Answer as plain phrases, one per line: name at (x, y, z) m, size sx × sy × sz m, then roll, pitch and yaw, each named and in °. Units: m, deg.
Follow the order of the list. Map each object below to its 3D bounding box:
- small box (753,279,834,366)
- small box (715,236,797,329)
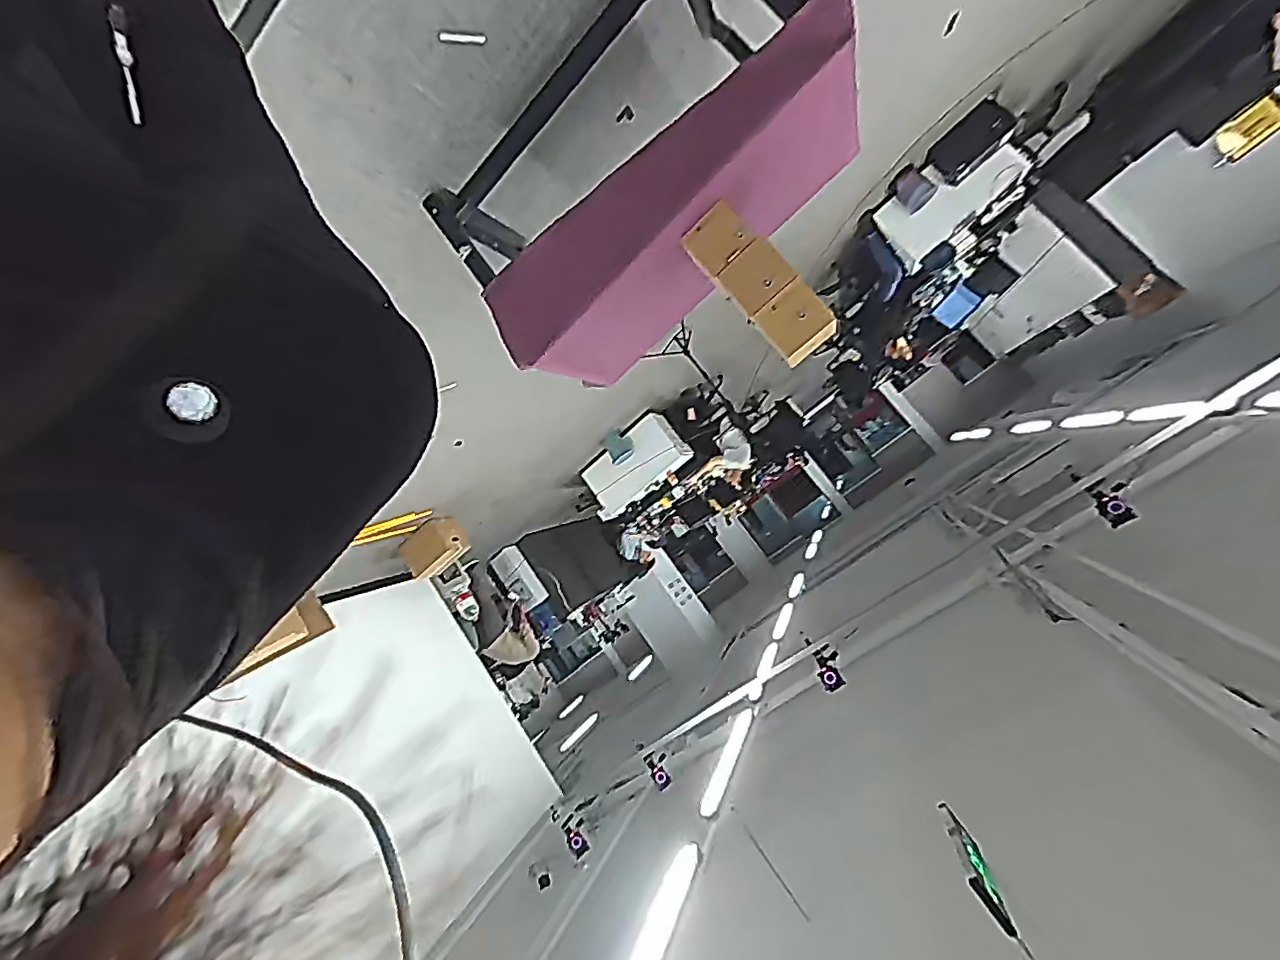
small box at (0.453, -0.467, 1.602) m, size 0.168 × 0.176 × 0.179 m, roll -41°, pitch 170°, yaw 16°
small box at (0.353, -0.593, 1.625) m, size 0.179 × 0.176 × 0.168 m, roll -40°, pitch 169°, yaw 16°
